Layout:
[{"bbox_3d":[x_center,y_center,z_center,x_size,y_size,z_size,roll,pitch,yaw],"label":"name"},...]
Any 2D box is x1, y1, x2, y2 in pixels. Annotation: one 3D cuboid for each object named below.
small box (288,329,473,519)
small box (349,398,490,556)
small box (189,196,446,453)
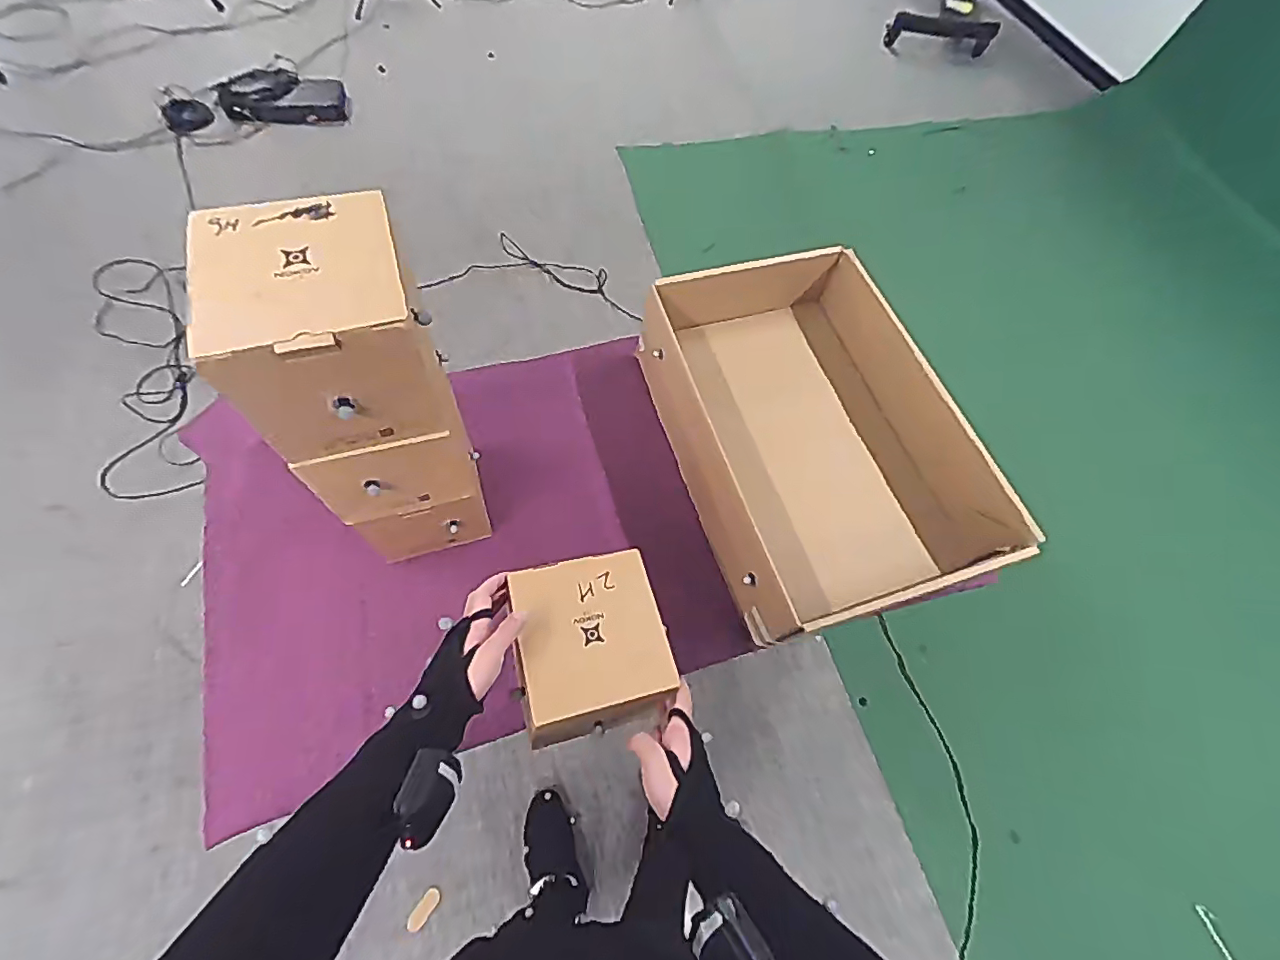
[{"bbox_3d":[-0.320,-0.065,0.683,0.168,0.176,0.179,-14,65,-13],"label":"small box"},{"bbox_3d":[-0.336,0.003,0.829,0.168,0.176,0.179,-14,65,-13],"label":"small box"},{"bbox_3d":[-0.305,-0.143,0.539,0.168,0.176,0.179,-15,66,-14],"label":"small box"}]
